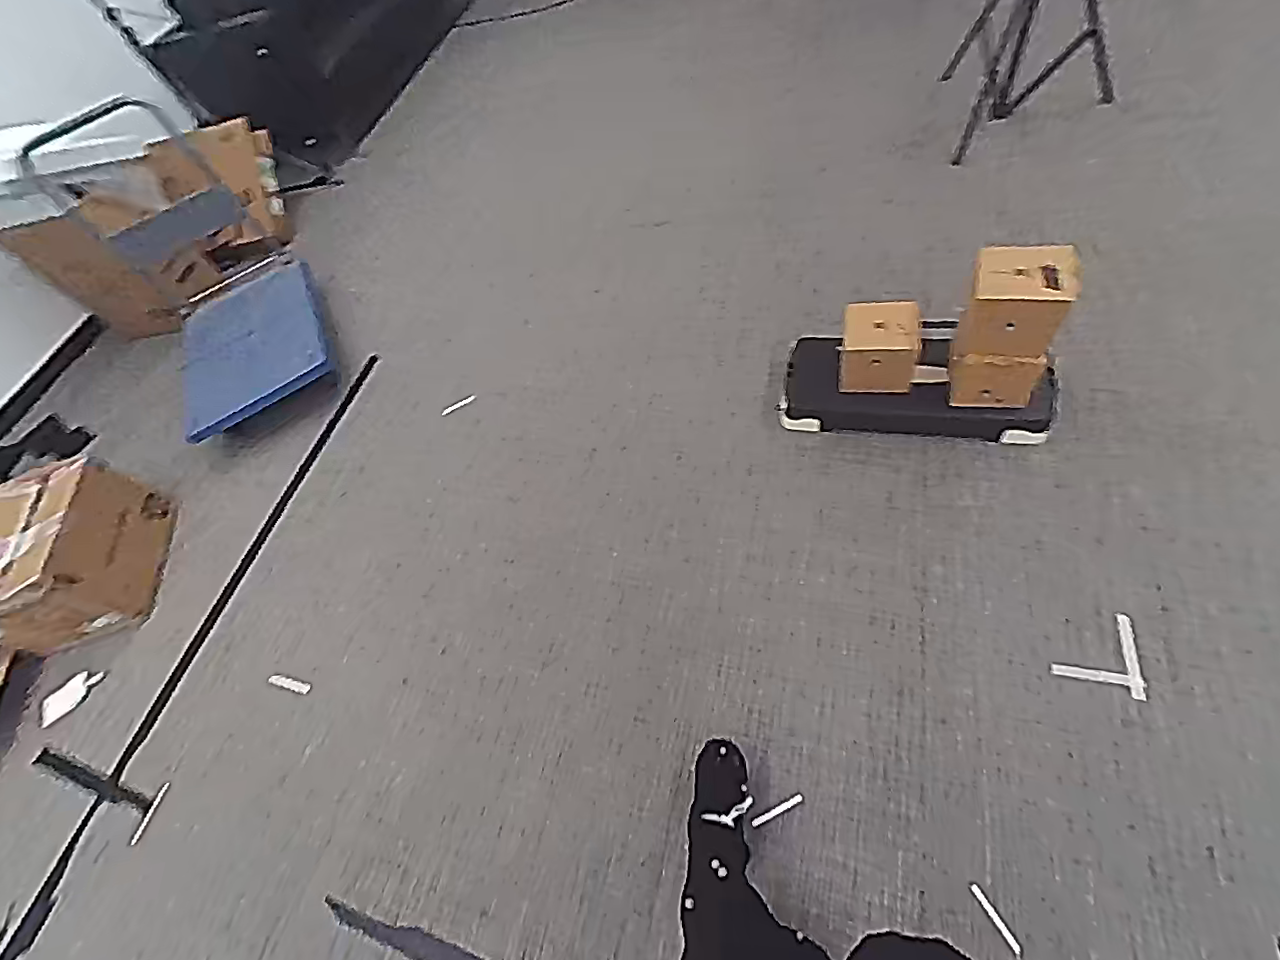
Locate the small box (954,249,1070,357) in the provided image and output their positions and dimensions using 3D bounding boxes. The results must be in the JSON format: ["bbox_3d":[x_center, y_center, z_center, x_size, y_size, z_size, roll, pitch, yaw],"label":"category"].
[{"bbox_3d":[0.829,-0.394,1.217,0.179,0.176,0.168,9,63,21],"label":"small box"}]

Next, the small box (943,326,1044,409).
[{"bbox_3d":[0.868,-0.299,1.346,0.168,0.176,0.179,4,62,18],"label":"small box"}]
